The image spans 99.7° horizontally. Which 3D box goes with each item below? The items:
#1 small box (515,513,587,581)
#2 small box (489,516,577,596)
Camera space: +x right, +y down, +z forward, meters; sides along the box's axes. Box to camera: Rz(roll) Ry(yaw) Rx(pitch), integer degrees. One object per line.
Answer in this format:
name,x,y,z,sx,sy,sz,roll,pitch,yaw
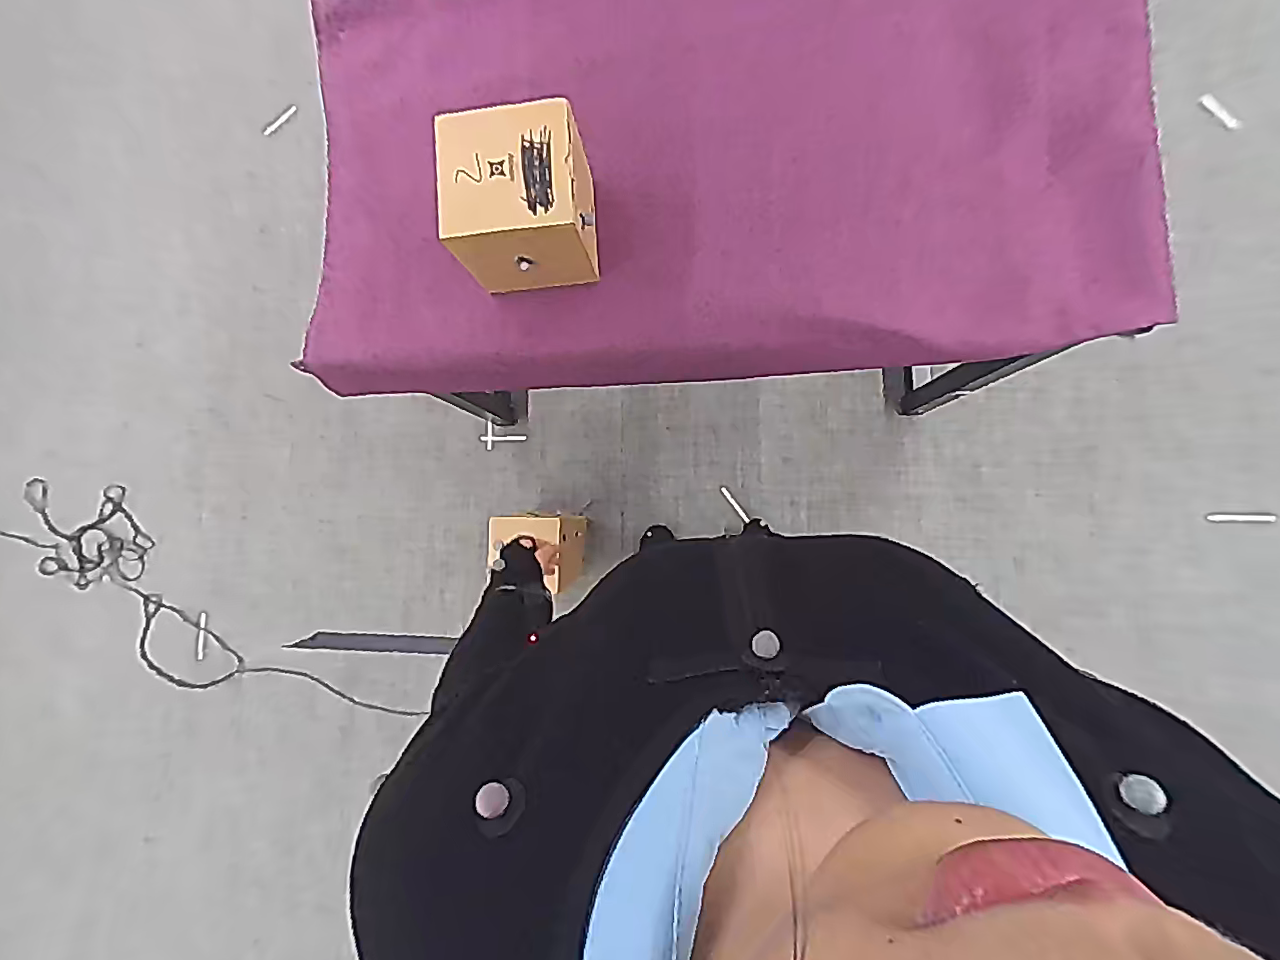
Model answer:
small box,-0.243,0.184,1.459,0.168,0.176,0.179,6,87,5
small box,-0.250,0.177,1.294,0.168,0.176,0.179,1,87,5
